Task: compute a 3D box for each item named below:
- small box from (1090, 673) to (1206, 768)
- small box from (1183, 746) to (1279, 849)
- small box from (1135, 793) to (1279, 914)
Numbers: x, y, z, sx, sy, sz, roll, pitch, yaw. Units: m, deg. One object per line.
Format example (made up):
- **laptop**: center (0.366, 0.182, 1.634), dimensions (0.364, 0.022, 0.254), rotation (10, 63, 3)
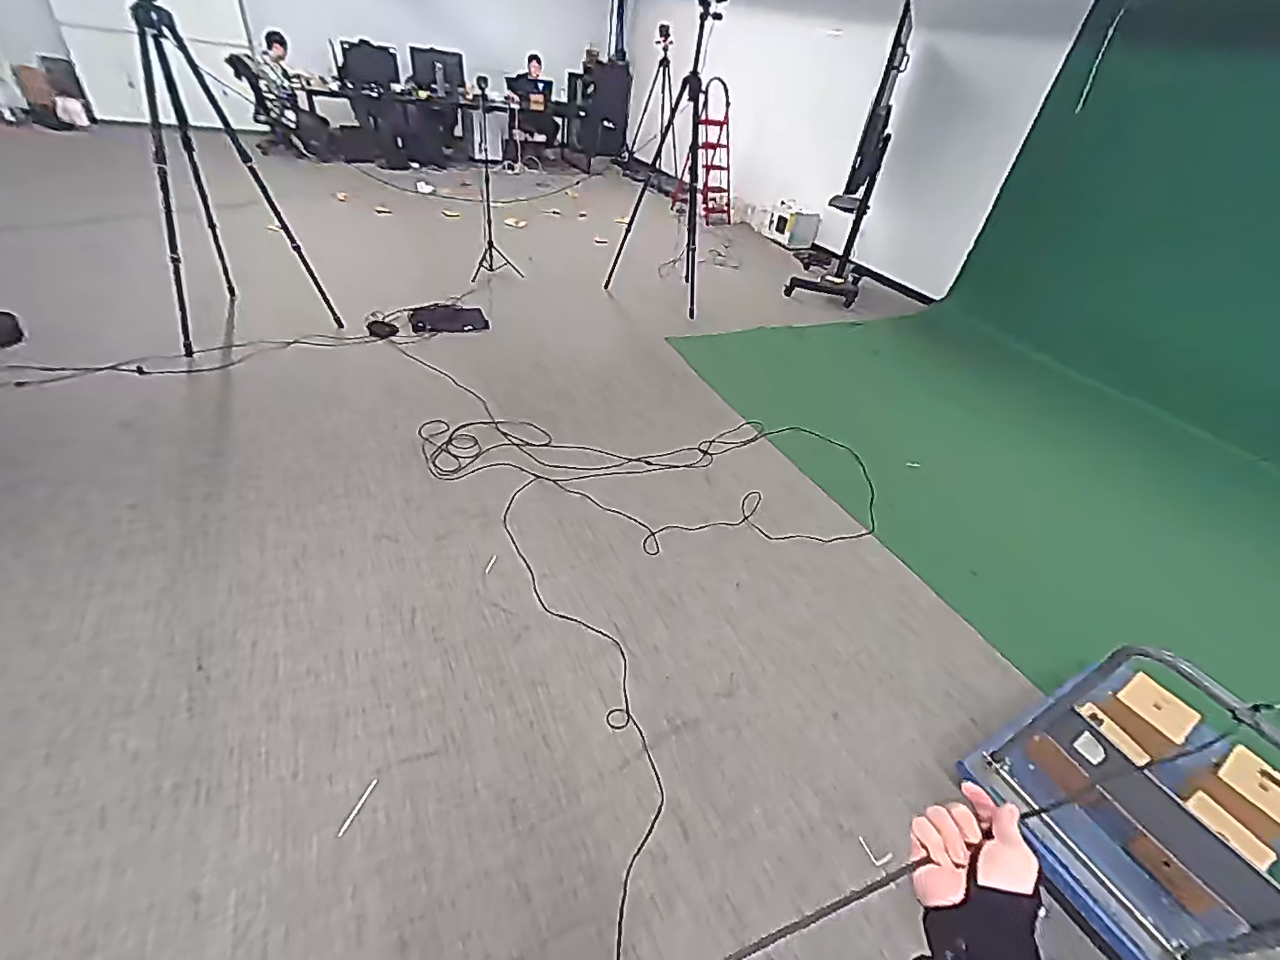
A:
- **small box**: center (1.499, 0.717, 1.608), dimensions (0.179, 0.176, 0.168), rotation (-17, 46, -28)
- **small box**: center (1.632, 0.862, 1.452), dimensions (0.179, 0.176, 0.168), rotation (-18, 45, -27)
- **small box**: center (1.395, 0.922, 1.337), dimensions (0.179, 0.176, 0.168), rotation (-14, 44, -24)
